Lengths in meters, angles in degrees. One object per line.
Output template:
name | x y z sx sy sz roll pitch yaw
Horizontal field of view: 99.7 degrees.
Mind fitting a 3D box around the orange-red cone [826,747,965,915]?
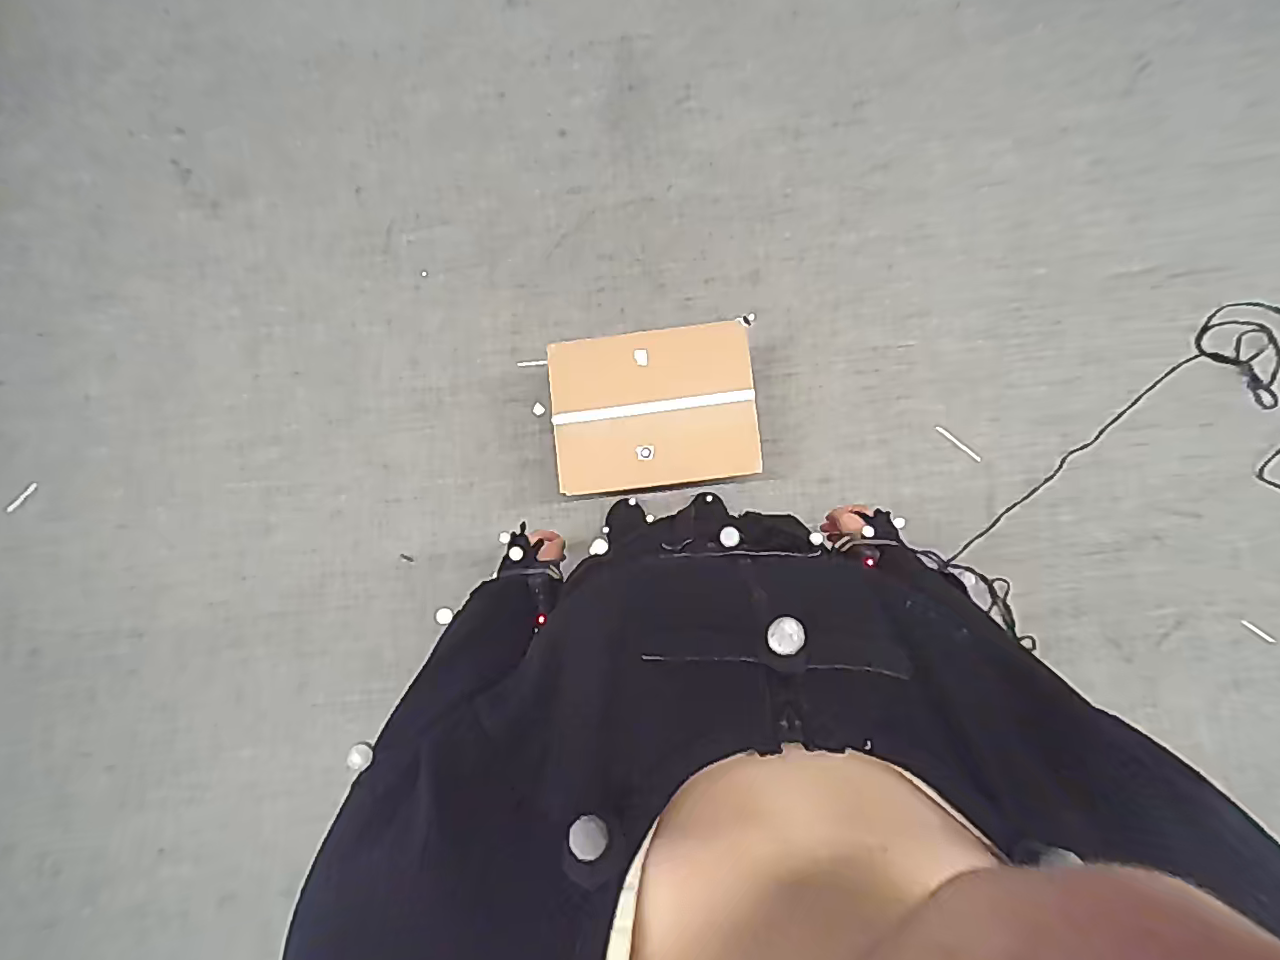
orange-red cone | 0.564 0.755 1.134 0.199 0.360 0.198 15 90 0
